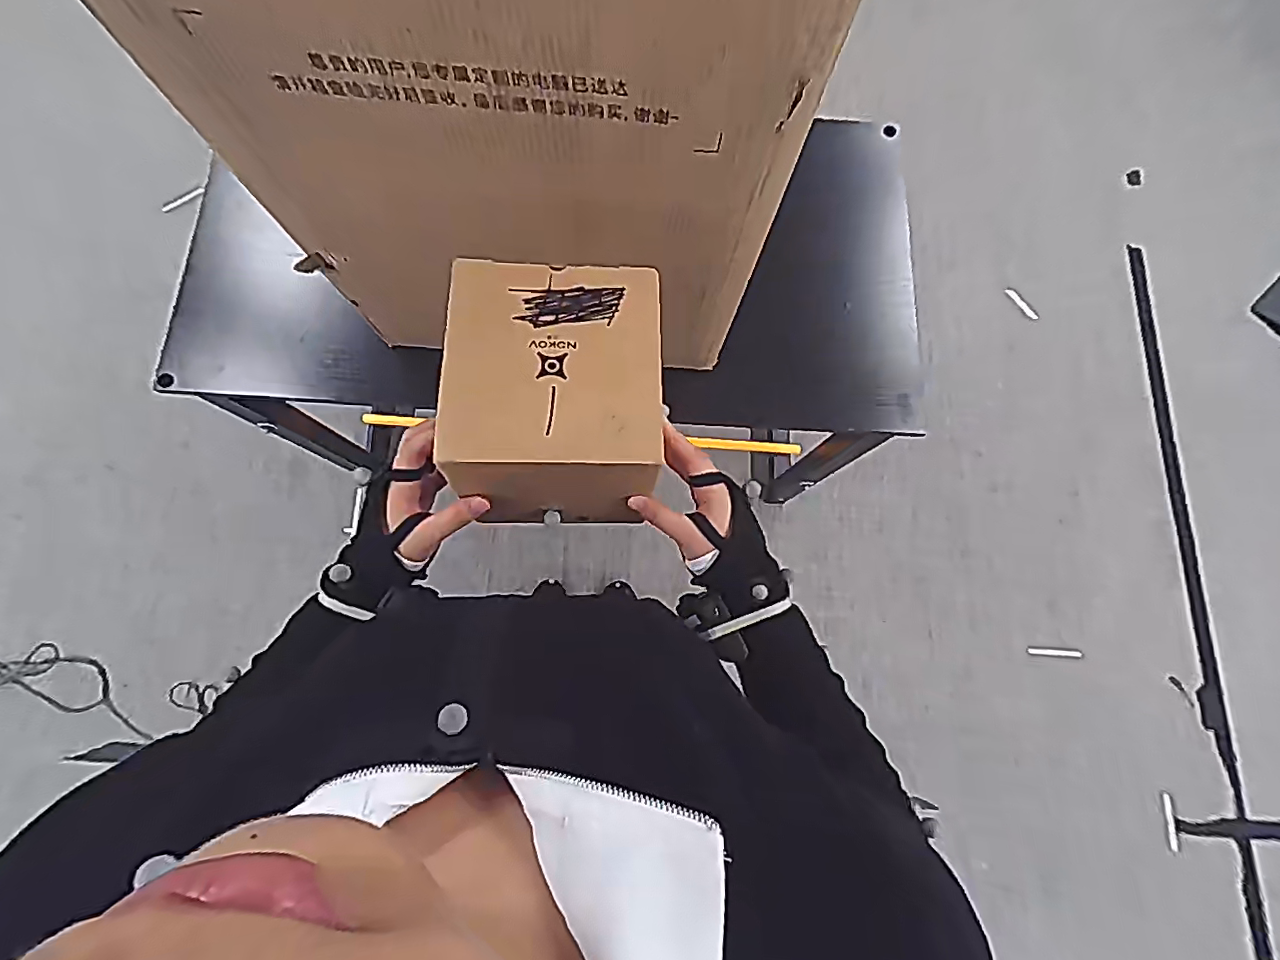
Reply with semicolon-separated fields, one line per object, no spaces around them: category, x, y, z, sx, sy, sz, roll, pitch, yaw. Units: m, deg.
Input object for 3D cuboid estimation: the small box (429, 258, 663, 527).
small box;-0.073;-0.065;0.481;0.168;0.176;0.179;1;70;-5
